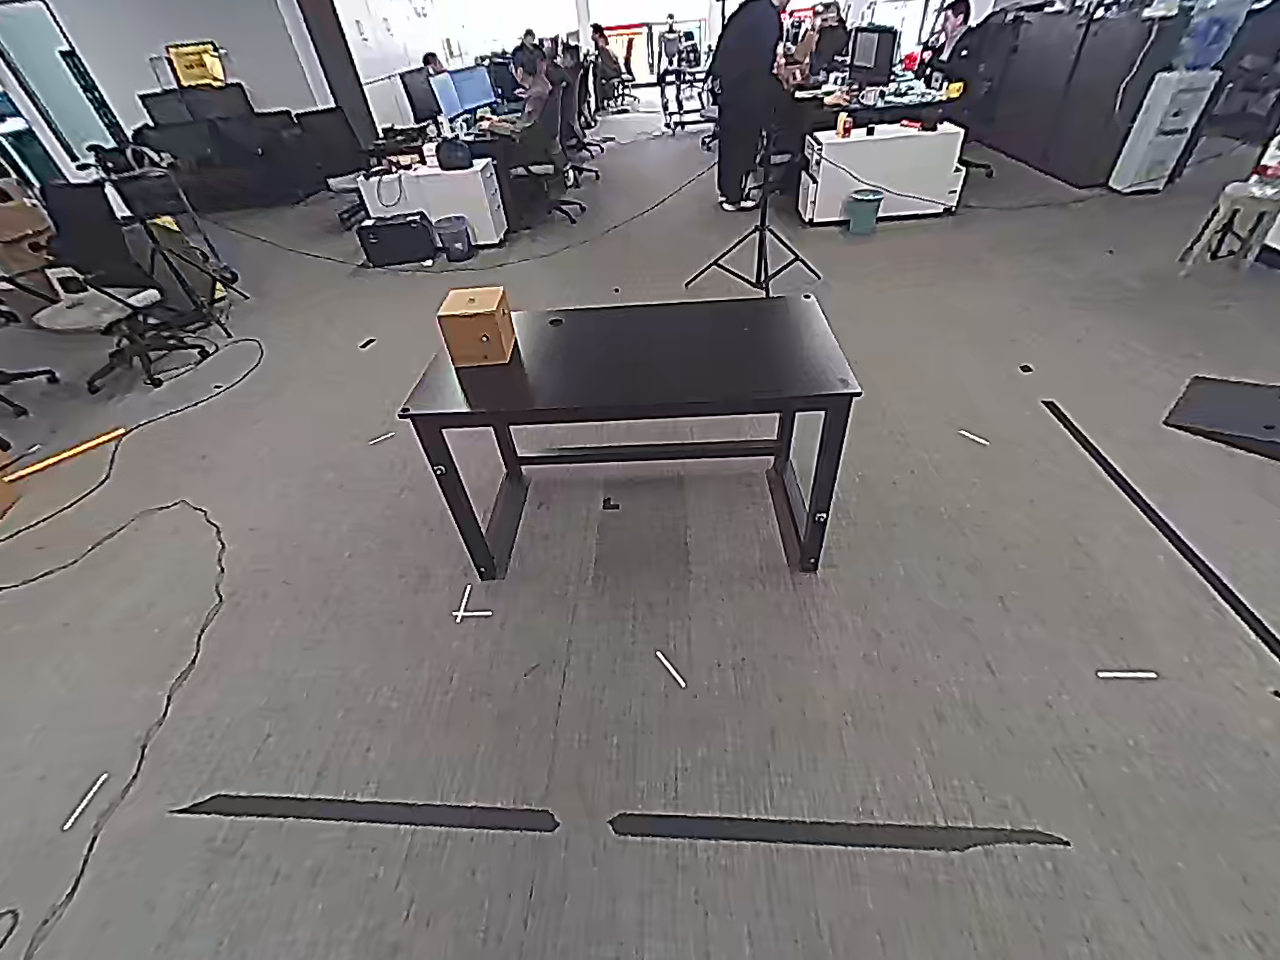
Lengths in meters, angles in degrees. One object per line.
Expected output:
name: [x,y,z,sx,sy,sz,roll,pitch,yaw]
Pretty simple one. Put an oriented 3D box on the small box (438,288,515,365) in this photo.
small box: [-0.477,-0.453,1.611,0.168,0.176,0.179,-4,41,0]
